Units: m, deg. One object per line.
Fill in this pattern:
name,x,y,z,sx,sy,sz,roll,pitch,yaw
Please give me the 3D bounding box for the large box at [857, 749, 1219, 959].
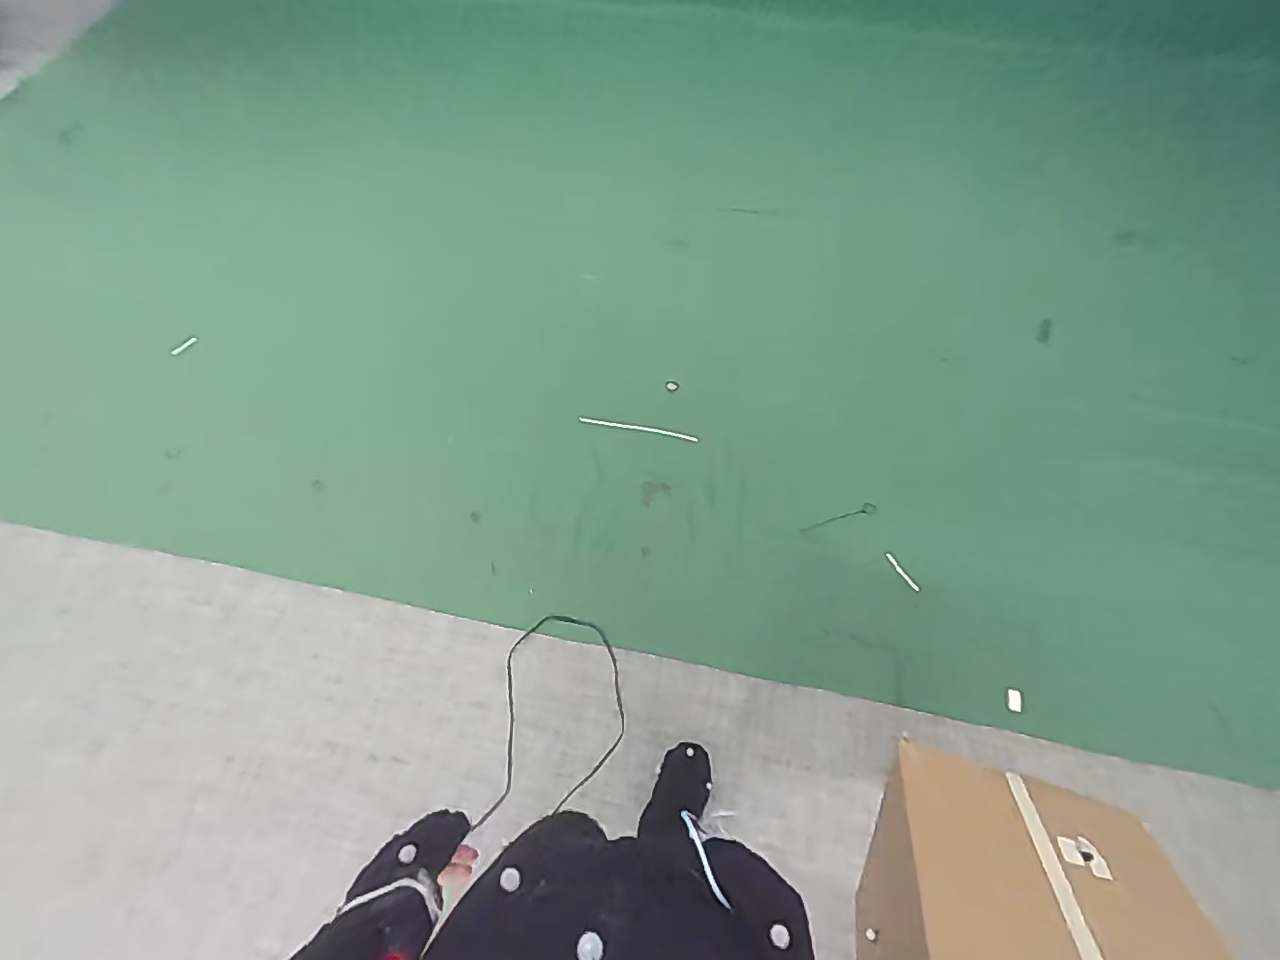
large box,0.459,0.628,0.655,0.320,0.408,0.320,13,103,18
